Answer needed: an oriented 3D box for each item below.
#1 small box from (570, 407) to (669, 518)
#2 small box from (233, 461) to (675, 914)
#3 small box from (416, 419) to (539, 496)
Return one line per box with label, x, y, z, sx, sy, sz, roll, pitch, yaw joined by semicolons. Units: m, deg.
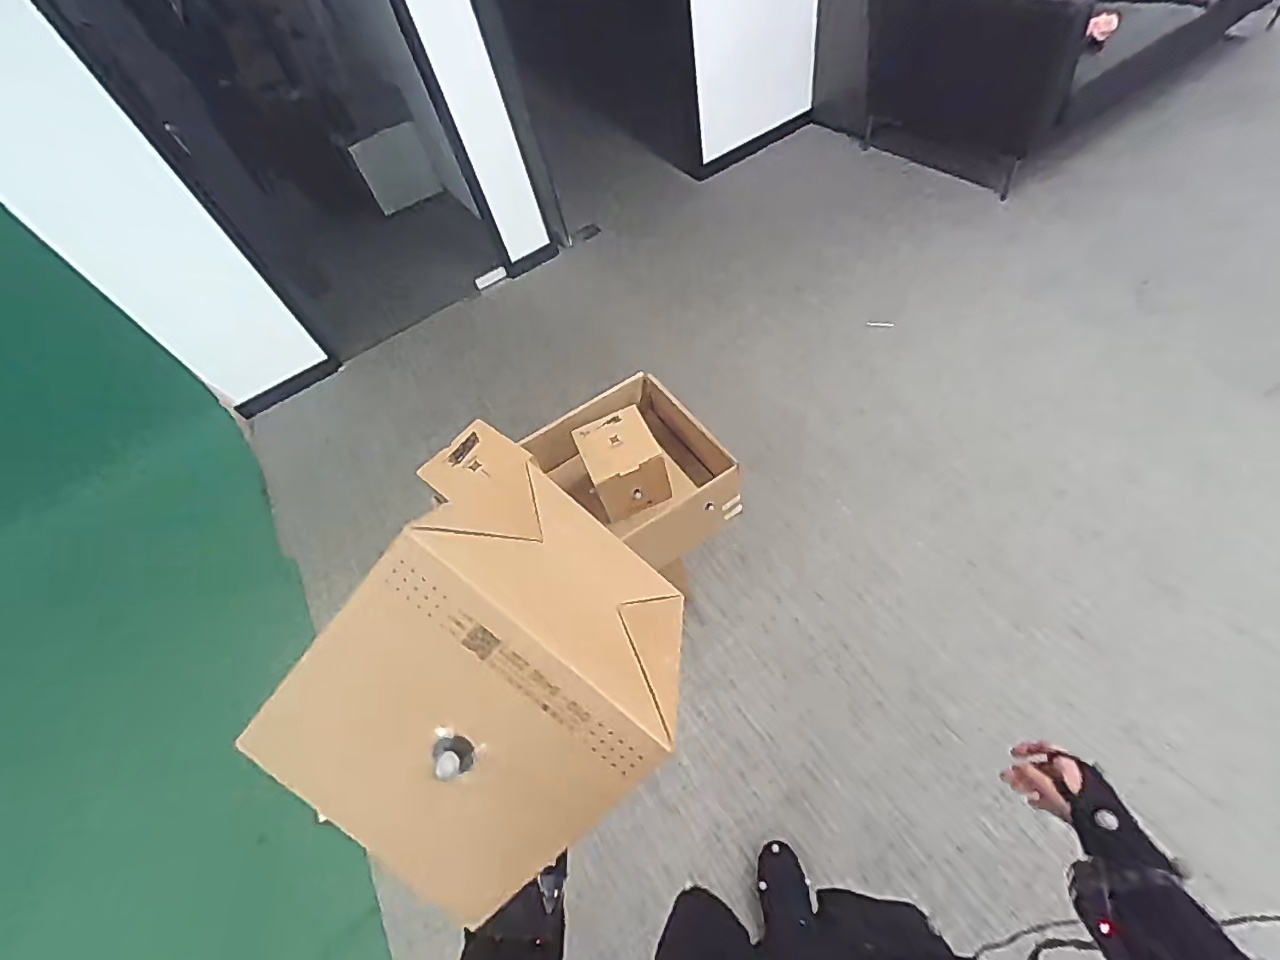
small box;-0.044;-0.033;1.270;0.168;0.176;0.179;-23;53;-4
small box;-0.092;0.107;0.350;0.168;0.179;0.176;43;103;-3
small box;-0.304;0.014;1.087;0.179;0.176;0.168;32;67;29
